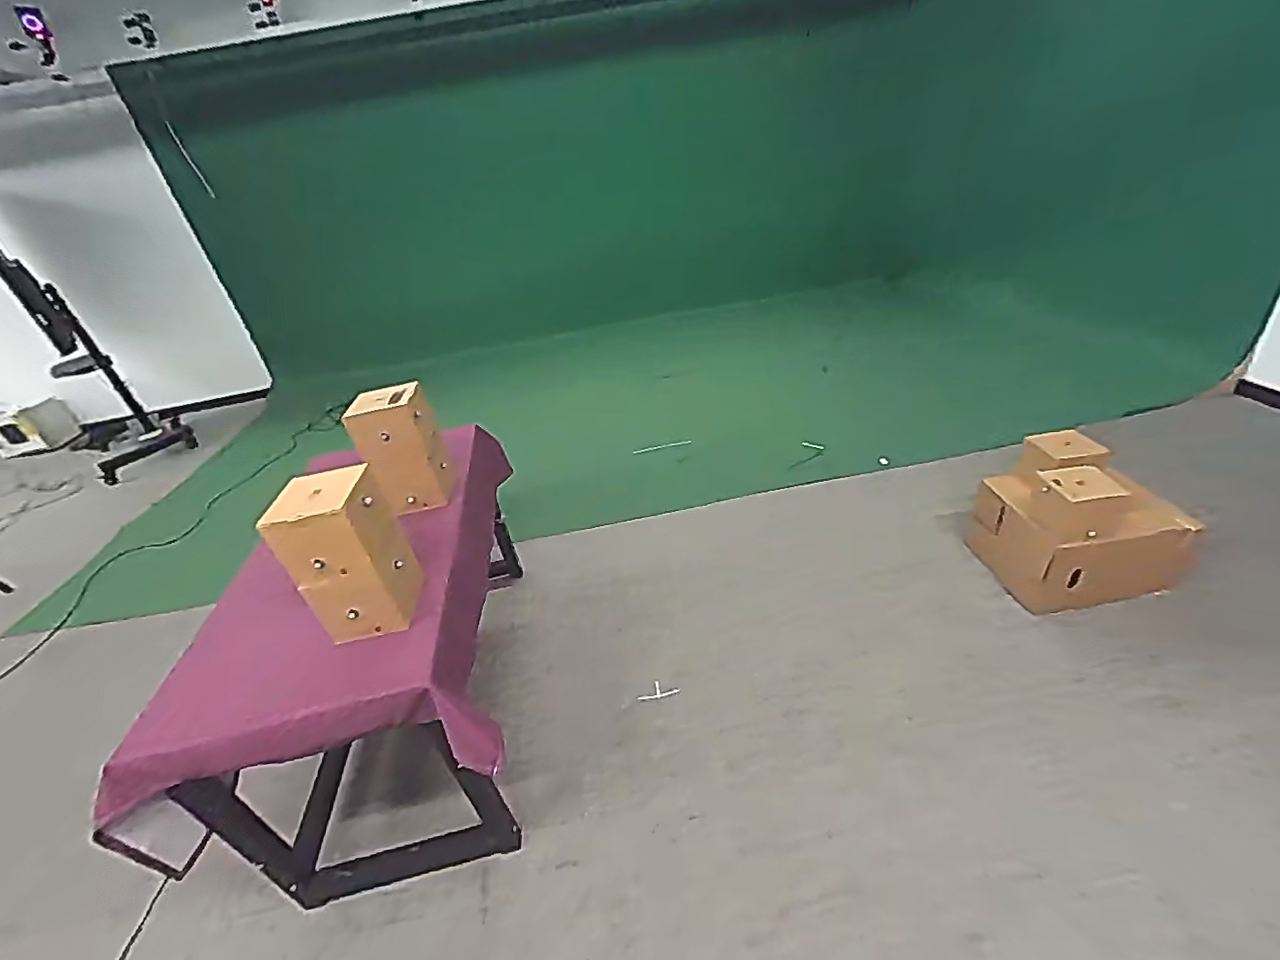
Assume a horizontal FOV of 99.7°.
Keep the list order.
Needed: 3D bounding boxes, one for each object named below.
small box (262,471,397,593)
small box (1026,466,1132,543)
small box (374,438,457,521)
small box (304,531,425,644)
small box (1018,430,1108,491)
[{"bbox_3d":[-0.633,0.107,1.133,0.168,0.176,0.179,-12,33,-1],"label":"small box"},{"bbox_3d":[1.353,0.076,1.682,0.179,0.176,0.168,-7,32,3],"label":"small box"},{"bbox_3d":[-0.667,-0.001,1.629,0.168,0.176,0.179,-12,33,-1],"label":"small box"},{"bbox_3d":[-0.604,0.246,1.215,0.168,0.176,0.179,-12,32,-1],"label":"small box"},{"bbox_3d":[1.448,-0.052,1.869,0.179,0.176,0.168,-8,32,0],"label":"small box"}]
